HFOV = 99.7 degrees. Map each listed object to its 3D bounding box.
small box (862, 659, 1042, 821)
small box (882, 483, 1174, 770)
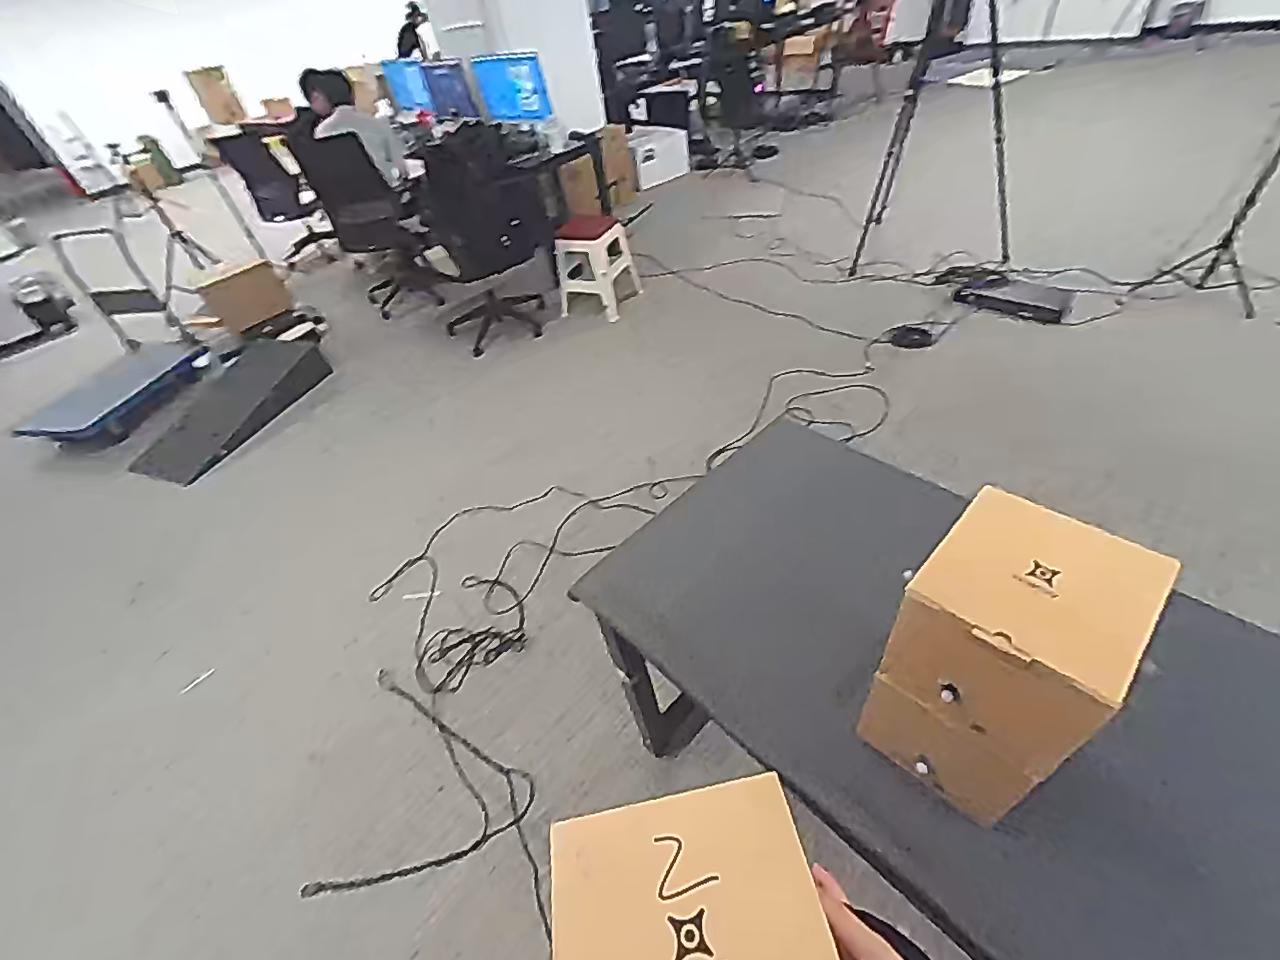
[{"bbox_3d":[0.387,0.258,0.649,0.179,0.176,0.168,-38,49,-26],"label":"small box"},{"bbox_3d":[0.365,0.141,0.538,0.179,0.176,0.168,-38,50,-26],"label":"small box"}]
